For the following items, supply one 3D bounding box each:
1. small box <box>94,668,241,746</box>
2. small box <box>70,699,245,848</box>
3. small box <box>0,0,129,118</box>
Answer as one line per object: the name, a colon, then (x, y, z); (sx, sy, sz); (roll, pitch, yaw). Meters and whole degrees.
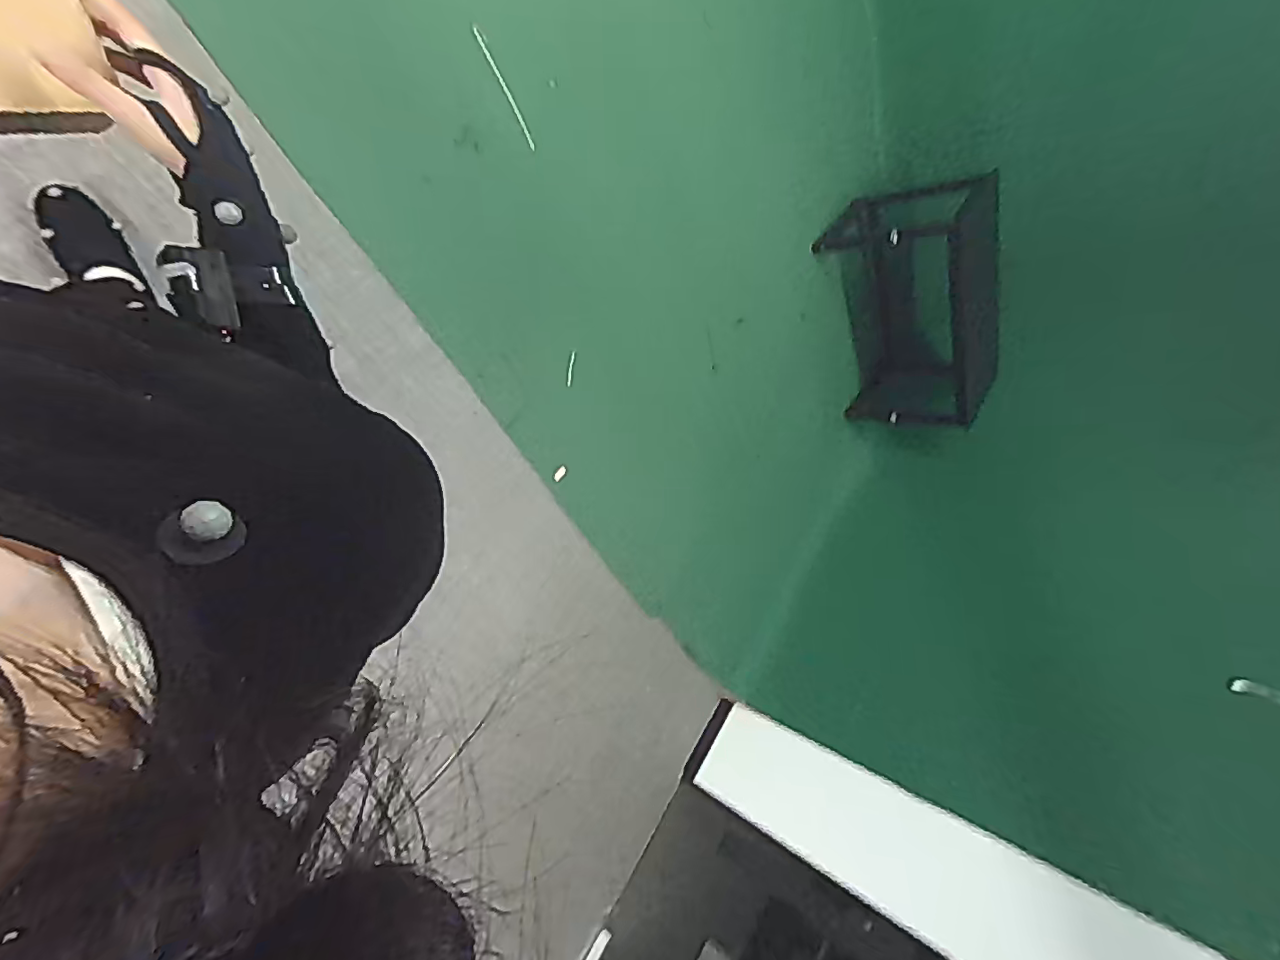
small box: (-1.004, 0.528, 1.145); (0.179, 0.176, 0.168); (-56, 133, -20)
small box: (-0.903, 0.544, 1.017); (0.168, 0.176, 0.179); (-54, 133, -23)
small box: (-0.485, -0.336, 0.343); (0.179, 0.176, 0.168); (-30, 130, -36)
